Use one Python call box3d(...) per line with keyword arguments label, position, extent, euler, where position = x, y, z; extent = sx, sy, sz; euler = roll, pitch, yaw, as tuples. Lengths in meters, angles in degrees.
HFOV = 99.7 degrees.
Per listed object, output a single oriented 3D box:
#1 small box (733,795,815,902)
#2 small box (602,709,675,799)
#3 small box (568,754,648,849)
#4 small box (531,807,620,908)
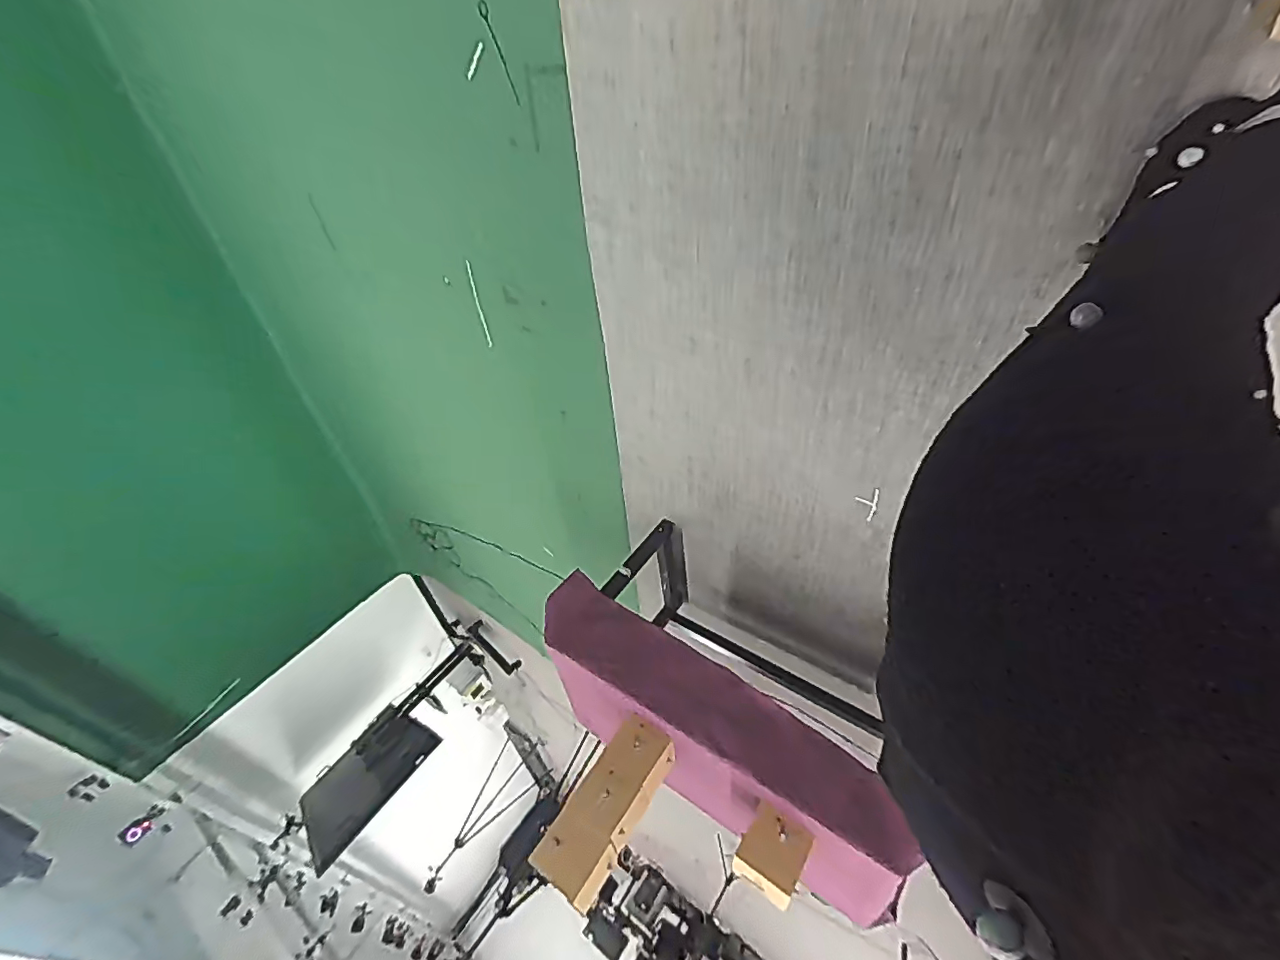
box3d(label="small box", position=(0.378, 1.035, 1.526), extent=(0.168, 0.176, 0.179), euler=(23, 140, 28))
box3d(label="small box", position=(0.001, 0.883, 1.754), extent=(0.168, 0.176, 0.179), euler=(22, 140, 29))
box3d(label="small box", position=(-0.092, 0.983, 1.660), extent=(0.168, 0.176, 0.179), euler=(22, 141, 29))
box3d(label="small box", position=(-0.182, 1.085, 1.570), extent=(0.179, 0.176, 0.168), euler=(21, 141, 29))
